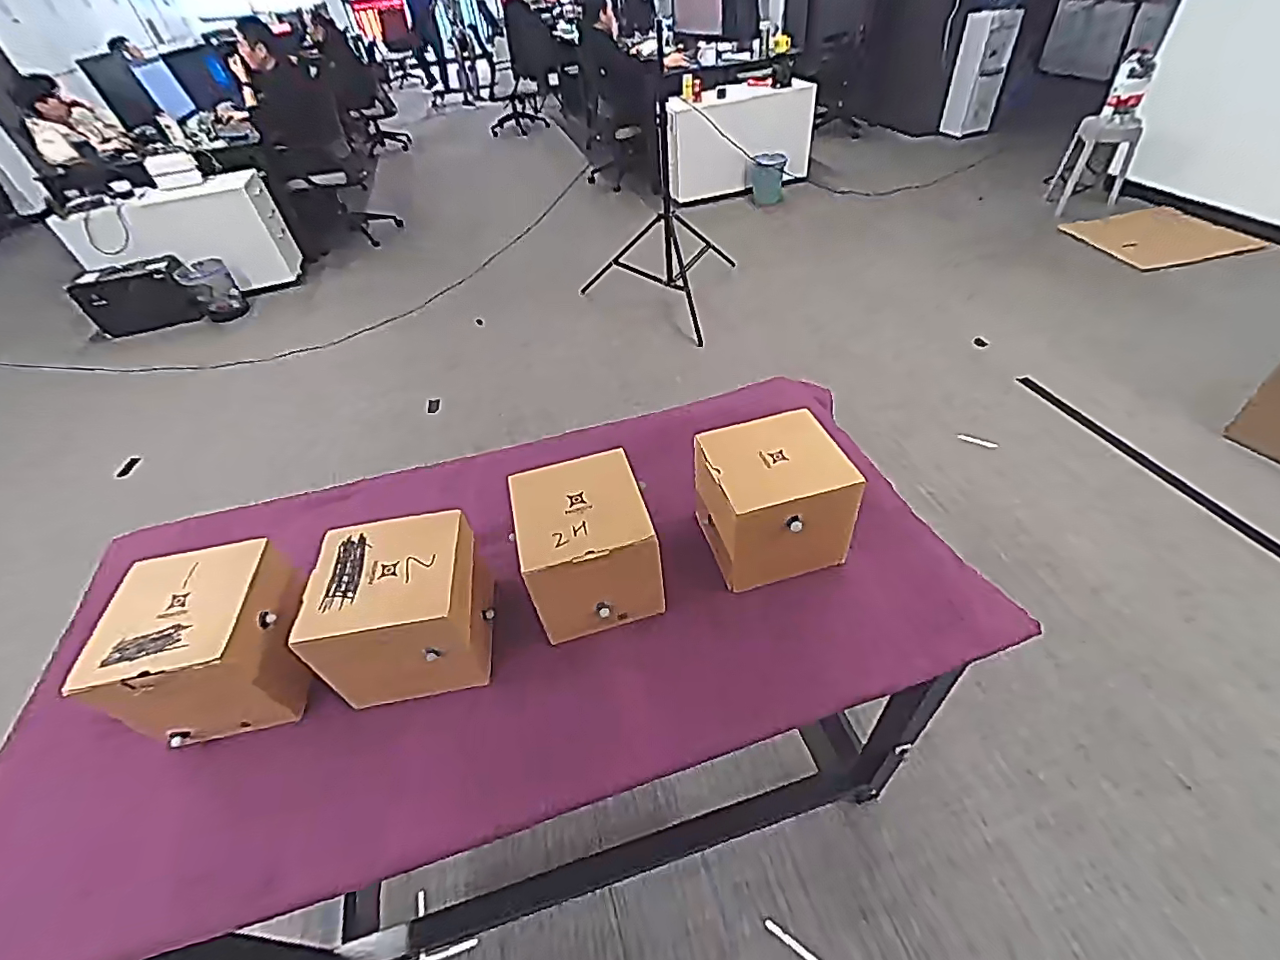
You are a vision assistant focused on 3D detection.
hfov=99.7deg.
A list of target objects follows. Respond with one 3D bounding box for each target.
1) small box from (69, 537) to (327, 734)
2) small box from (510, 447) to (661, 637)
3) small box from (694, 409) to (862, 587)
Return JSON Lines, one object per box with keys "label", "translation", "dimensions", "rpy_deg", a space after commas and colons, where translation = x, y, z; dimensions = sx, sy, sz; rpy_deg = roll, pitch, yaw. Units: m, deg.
{"label": "small box", "translation": [-0.534, 0.204, 0.691], "dimensions": [0.168, 0.176, 0.179], "rpy_deg": [-11, 45, -4]}
{"label": "small box", "translation": [-0.074, 0.086, 0.753], "dimensions": [0.168, 0.176, 0.179], "rpy_deg": [-15, 45, -7]}
{"label": "small box", "translation": [0.184, 0.027, 0.779], "dimensions": [0.179, 0.176, 0.168], "rpy_deg": [-14, 43, -7]}
